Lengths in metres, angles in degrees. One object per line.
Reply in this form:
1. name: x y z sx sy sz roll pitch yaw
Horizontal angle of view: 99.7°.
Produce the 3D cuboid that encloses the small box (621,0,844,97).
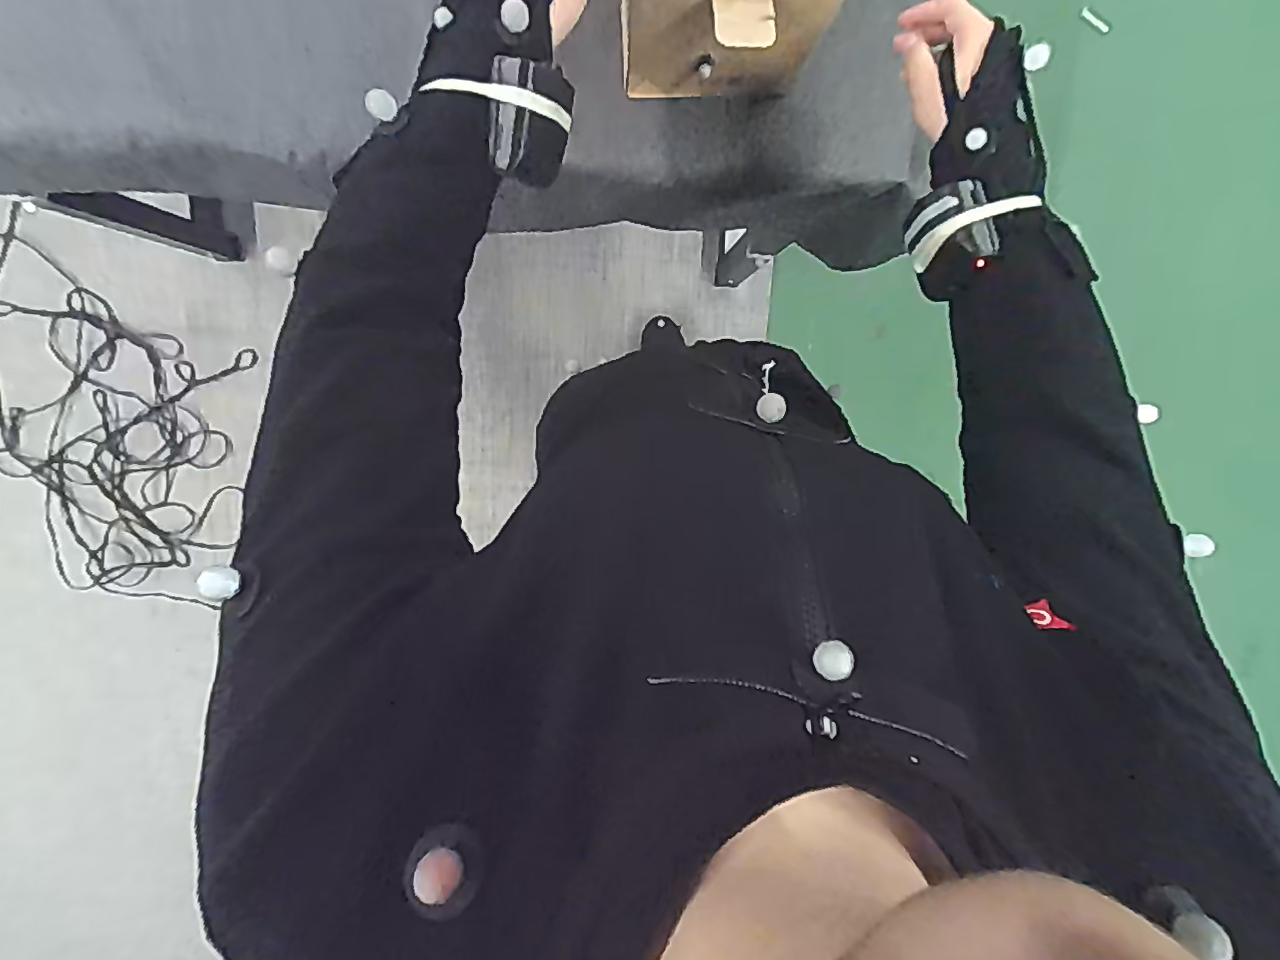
1. small box: 0.067 -0.453 0.442 0.168 0.176 0.179 -3 101 -2
